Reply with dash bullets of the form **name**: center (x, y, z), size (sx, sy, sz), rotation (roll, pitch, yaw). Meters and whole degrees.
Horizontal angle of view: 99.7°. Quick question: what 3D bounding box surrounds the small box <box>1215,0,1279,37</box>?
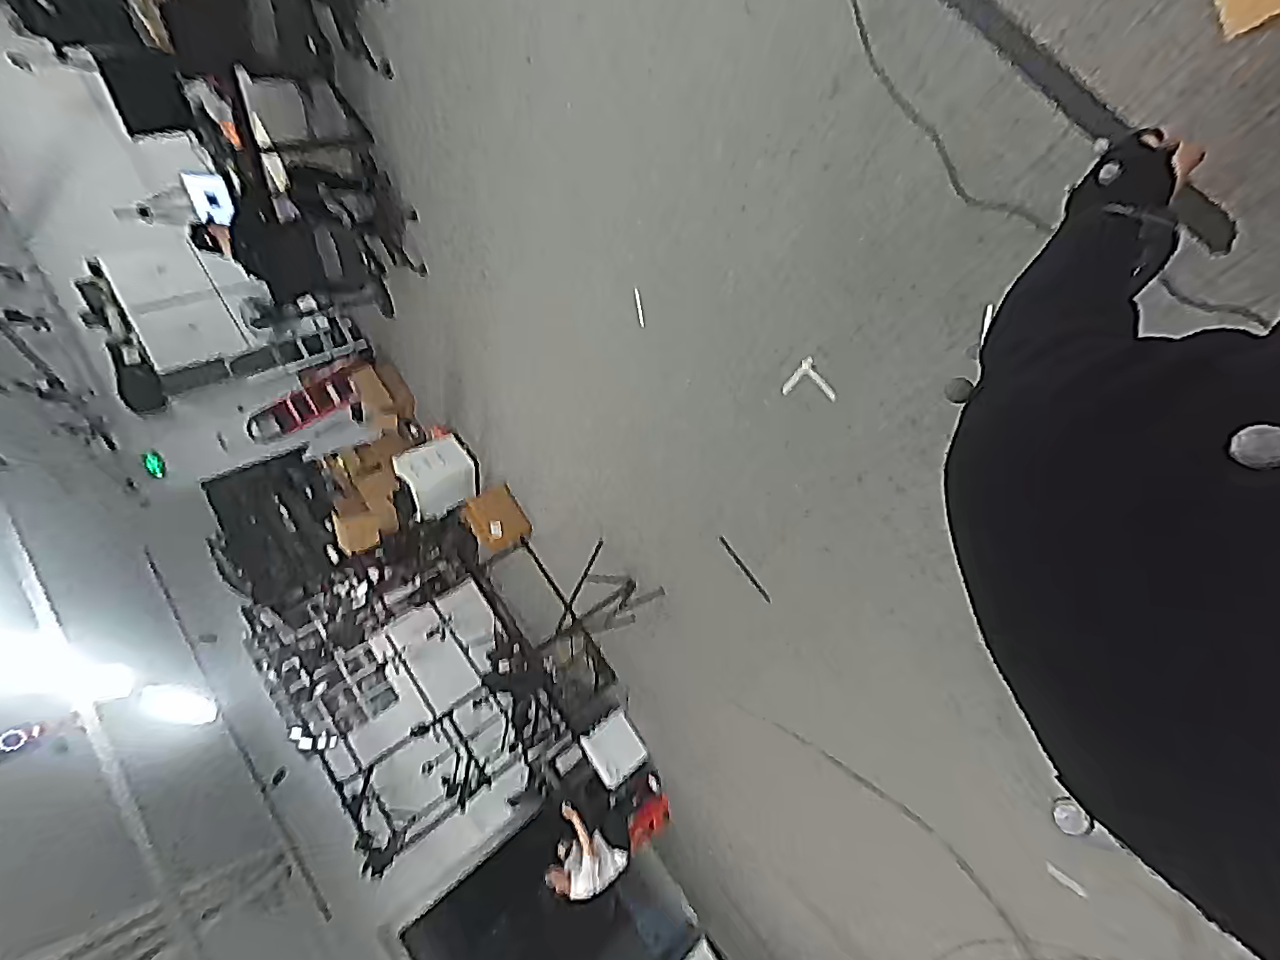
- **small box**: center (0.702, -0.589, 0.539), size (0.179, 0.176, 0.168), rotation (-16, 102, 58)
